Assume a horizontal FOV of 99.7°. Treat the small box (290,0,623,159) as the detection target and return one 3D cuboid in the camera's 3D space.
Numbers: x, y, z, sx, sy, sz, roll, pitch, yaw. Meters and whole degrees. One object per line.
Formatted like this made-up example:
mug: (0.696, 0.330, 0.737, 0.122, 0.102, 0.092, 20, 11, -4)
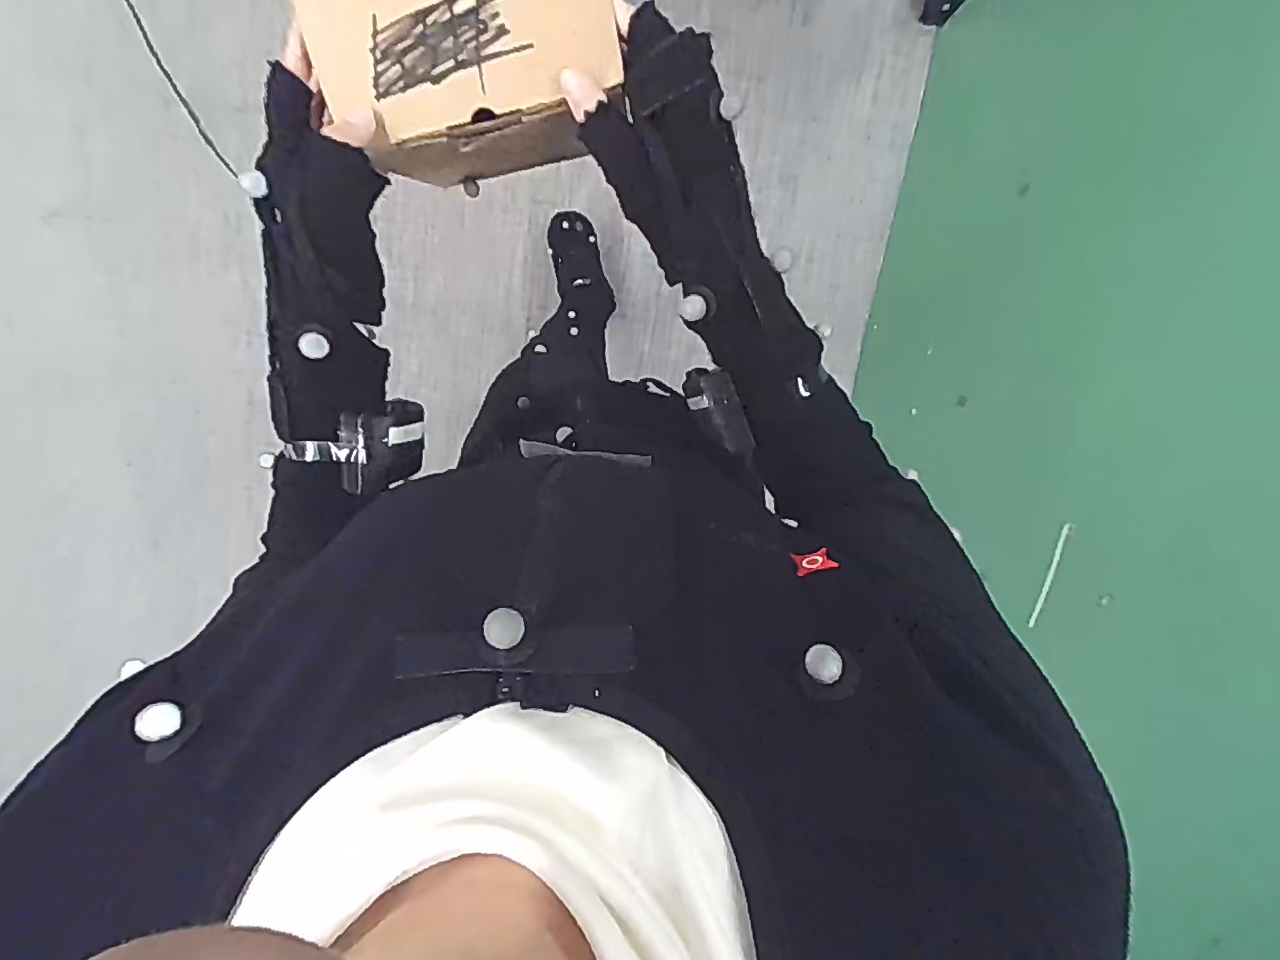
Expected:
small box: (-0.107, -0.321, 0.342, 0.168, 0.176, 0.179, -10, 112, 4)
